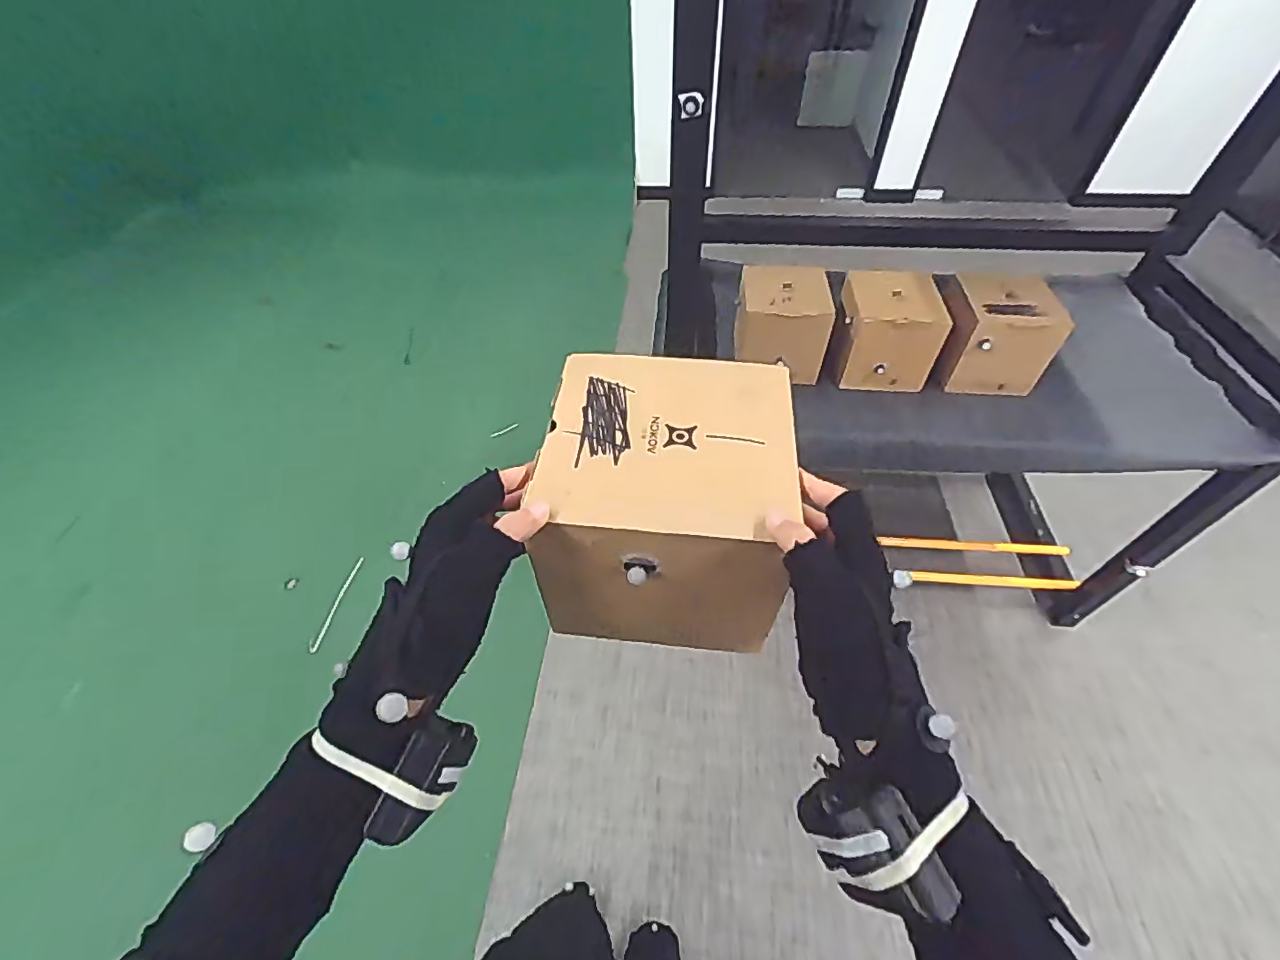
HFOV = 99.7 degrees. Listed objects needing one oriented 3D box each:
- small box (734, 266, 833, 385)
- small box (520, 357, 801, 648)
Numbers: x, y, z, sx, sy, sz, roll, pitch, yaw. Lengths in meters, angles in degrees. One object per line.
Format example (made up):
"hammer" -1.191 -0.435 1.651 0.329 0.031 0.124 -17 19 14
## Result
"small box" 0.287 -0.320 1.121 0.168 0.176 0.179 3 50 4
"small box" 0.020 0.022 0.439 0.179 0.176 0.168 5 51 4
